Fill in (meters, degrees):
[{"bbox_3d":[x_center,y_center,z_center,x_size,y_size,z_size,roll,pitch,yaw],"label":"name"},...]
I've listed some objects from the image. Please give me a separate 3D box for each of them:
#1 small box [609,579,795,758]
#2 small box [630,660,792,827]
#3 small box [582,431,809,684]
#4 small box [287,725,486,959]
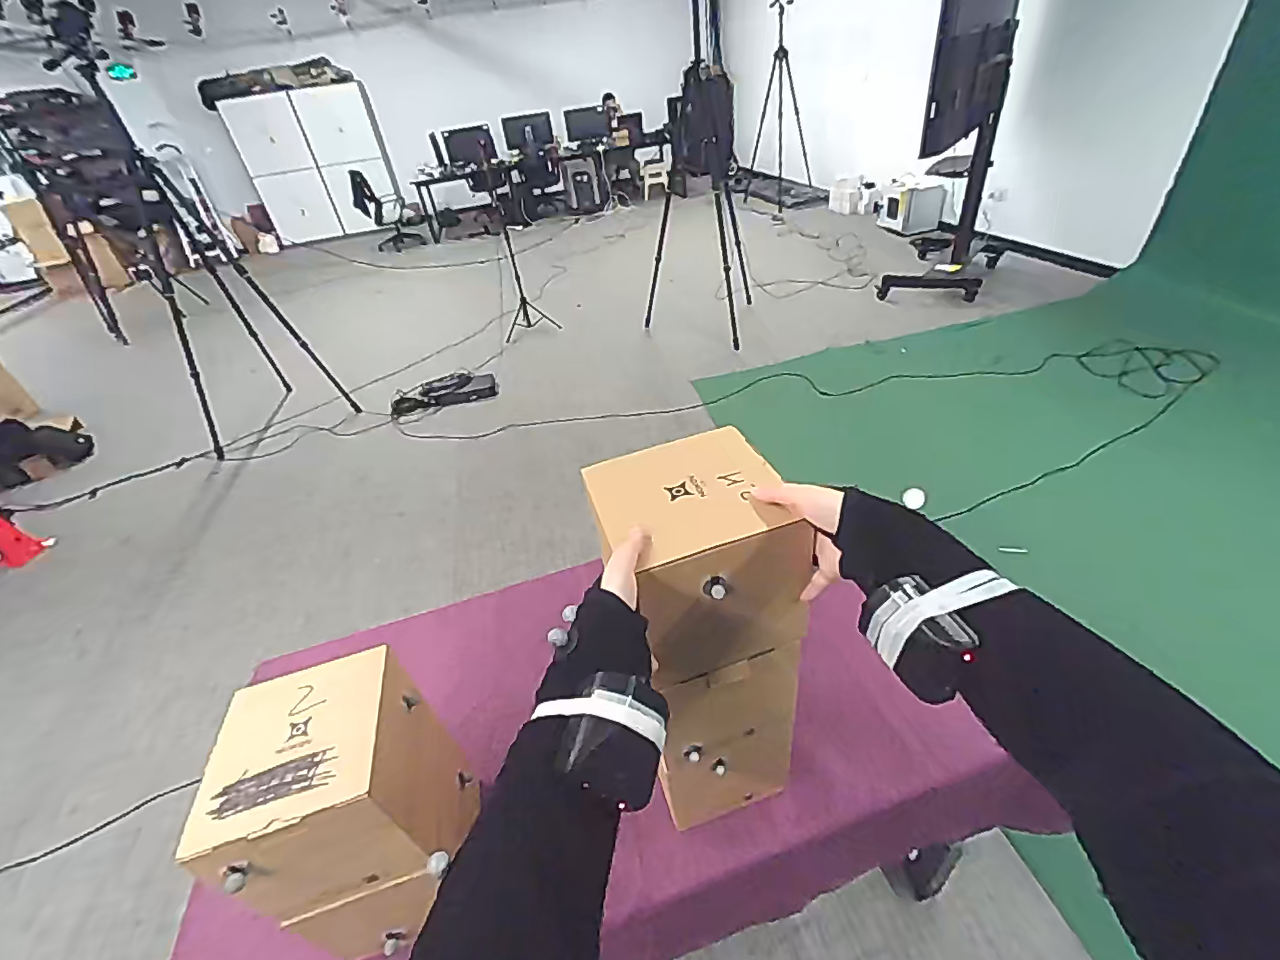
[{"bbox_3d":[0.074,0.206,0.658,0.168,0.176,0.179,-17,37,-9],"label":"small box"},{"bbox_3d":[0.095,0.337,0.755,0.168,0.176,0.179,-17,37,-8],"label":"small box"},{"bbox_3d":[0.054,0.079,0.556,0.179,0.176,0.168,-16,38,-9],"label":"small box"},{"bbox_3d":[-0.303,0.455,0.687,0.168,0.176,0.179,-16,38,-8],"label":"small box"}]
